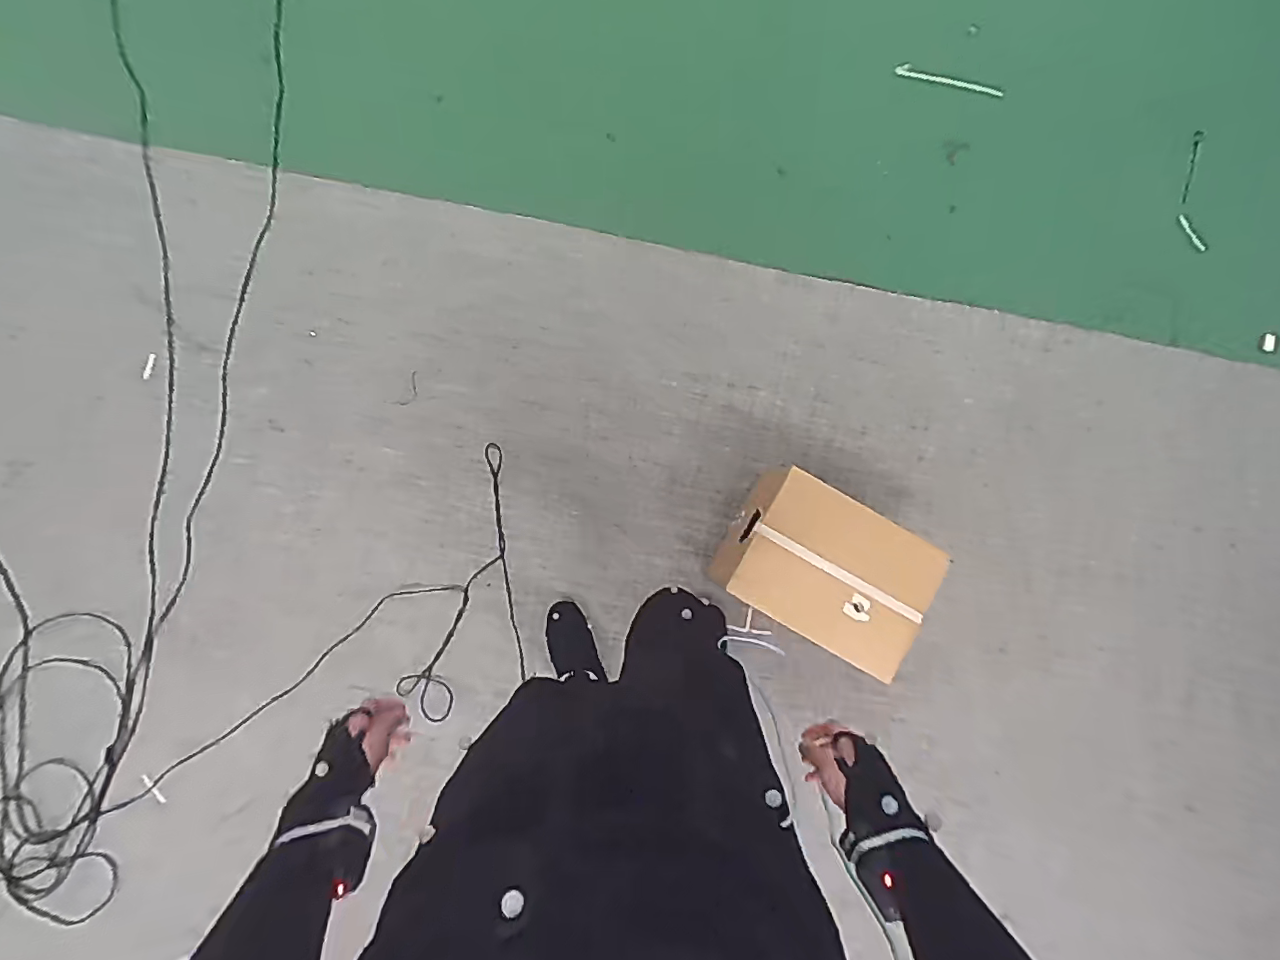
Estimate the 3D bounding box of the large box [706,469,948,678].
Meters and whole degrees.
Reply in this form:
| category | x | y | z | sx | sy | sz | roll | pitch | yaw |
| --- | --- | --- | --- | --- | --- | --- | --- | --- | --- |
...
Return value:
| category | x | y | z | sx | sy | sz | roll | pitch | yaw |
| --- | --- | --- | --- | --- | --- | --- | --- | --- | --- |
| large box | 0.423 | 0.212 | 1.315 | 0.408 | 0.320 | 0.320 | 30 | 85 | 1 |
